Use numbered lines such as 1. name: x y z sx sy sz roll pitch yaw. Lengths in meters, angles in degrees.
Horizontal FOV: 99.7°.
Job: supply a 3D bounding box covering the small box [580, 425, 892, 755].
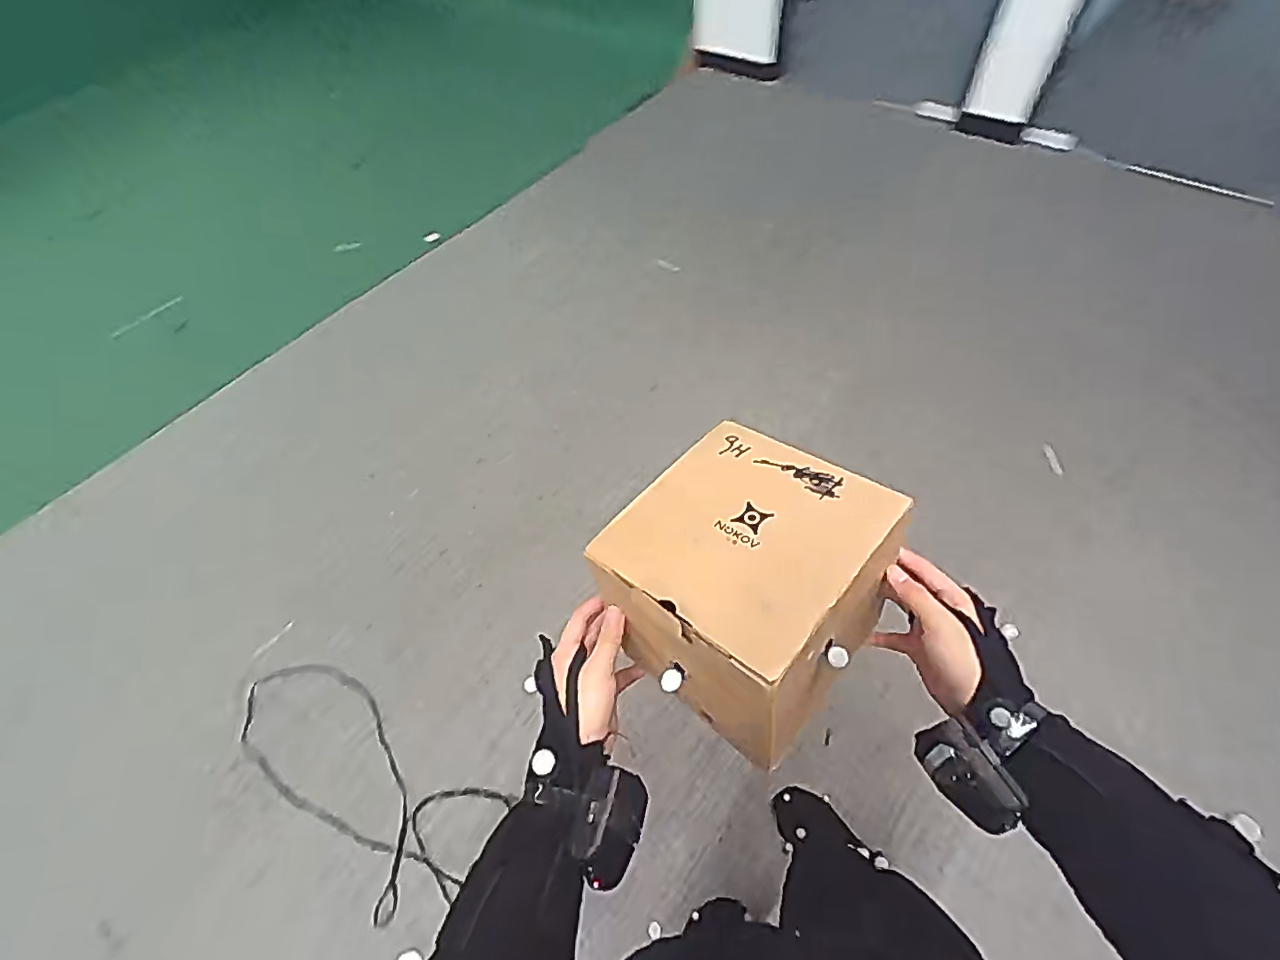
1. small box: 0.083 0.090 0.452 0.168 0.176 0.179 29 60 34
